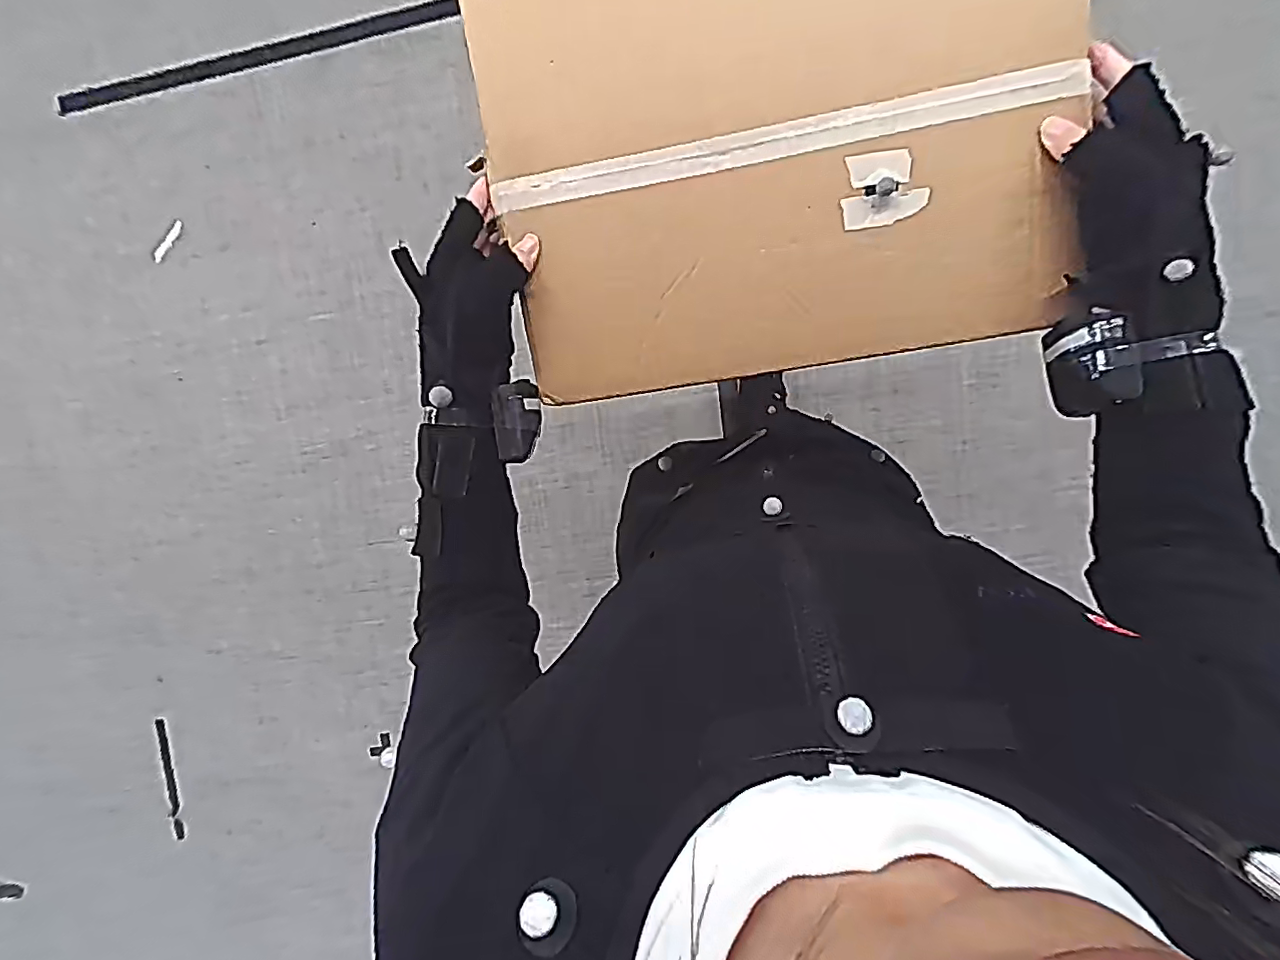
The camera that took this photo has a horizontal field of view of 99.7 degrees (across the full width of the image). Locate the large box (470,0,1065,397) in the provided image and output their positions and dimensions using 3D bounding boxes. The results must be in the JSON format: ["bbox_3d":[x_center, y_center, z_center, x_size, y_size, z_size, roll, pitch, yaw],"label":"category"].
[{"bbox_3d":[0.105,-0.278,0.538,0.408,0.320,0.320,-8,103,6],"label":"large box"}]
